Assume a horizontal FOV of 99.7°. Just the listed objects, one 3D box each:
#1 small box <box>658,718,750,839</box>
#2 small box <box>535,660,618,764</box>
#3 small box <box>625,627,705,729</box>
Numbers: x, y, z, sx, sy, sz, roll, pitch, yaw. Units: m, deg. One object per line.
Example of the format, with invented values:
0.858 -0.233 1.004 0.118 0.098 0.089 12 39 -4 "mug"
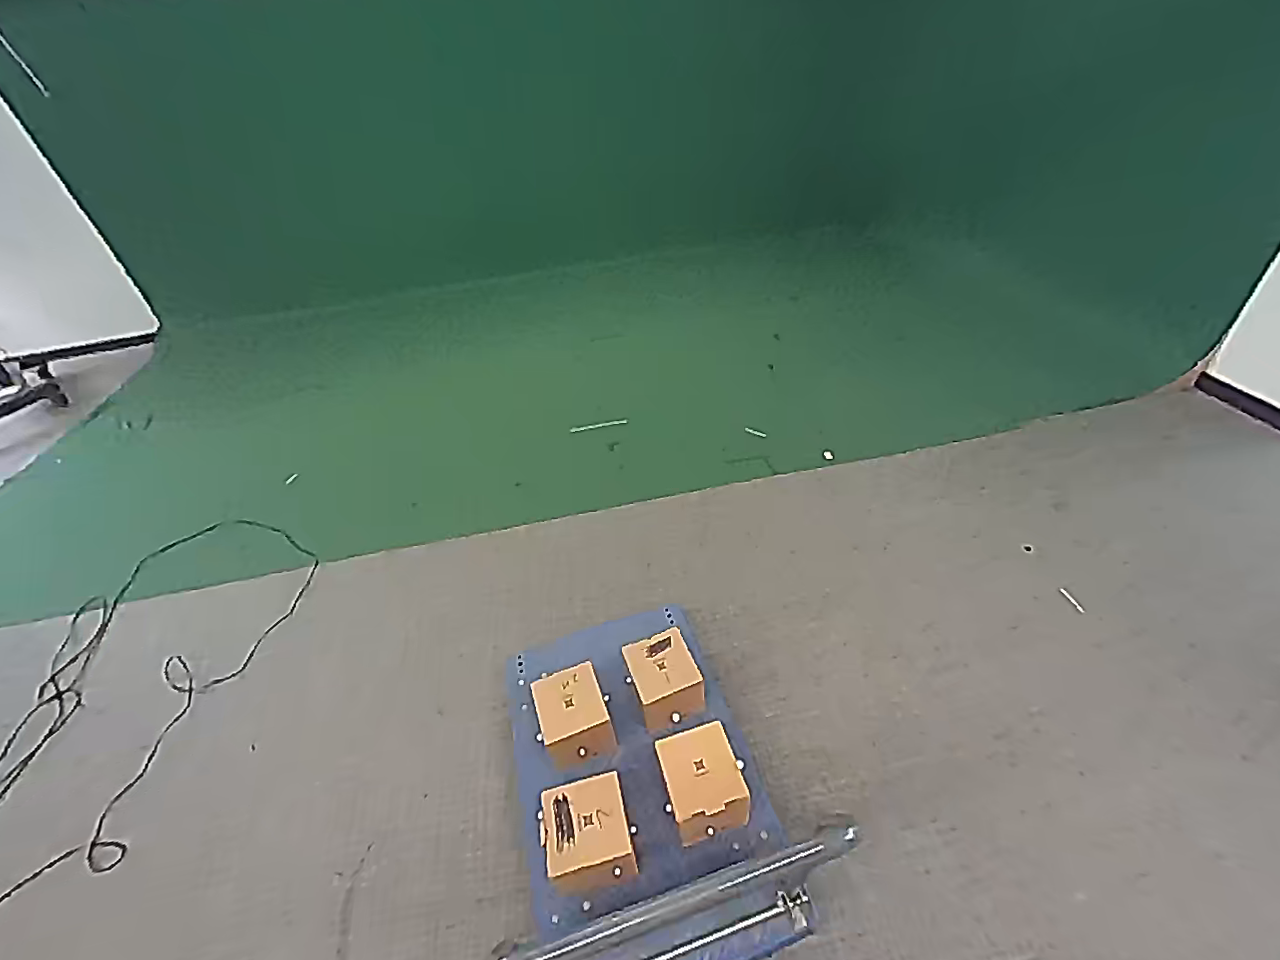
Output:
0.147 0.705 1.277 0.168 0.176 0.179 -15 41 -8 "small box"
-0.165 0.618 1.426 0.168 0.176 0.179 -17 41 -12 "small box"
0.069 0.541 1.478 0.168 0.176 0.179 -18 43 -11 "small box"
